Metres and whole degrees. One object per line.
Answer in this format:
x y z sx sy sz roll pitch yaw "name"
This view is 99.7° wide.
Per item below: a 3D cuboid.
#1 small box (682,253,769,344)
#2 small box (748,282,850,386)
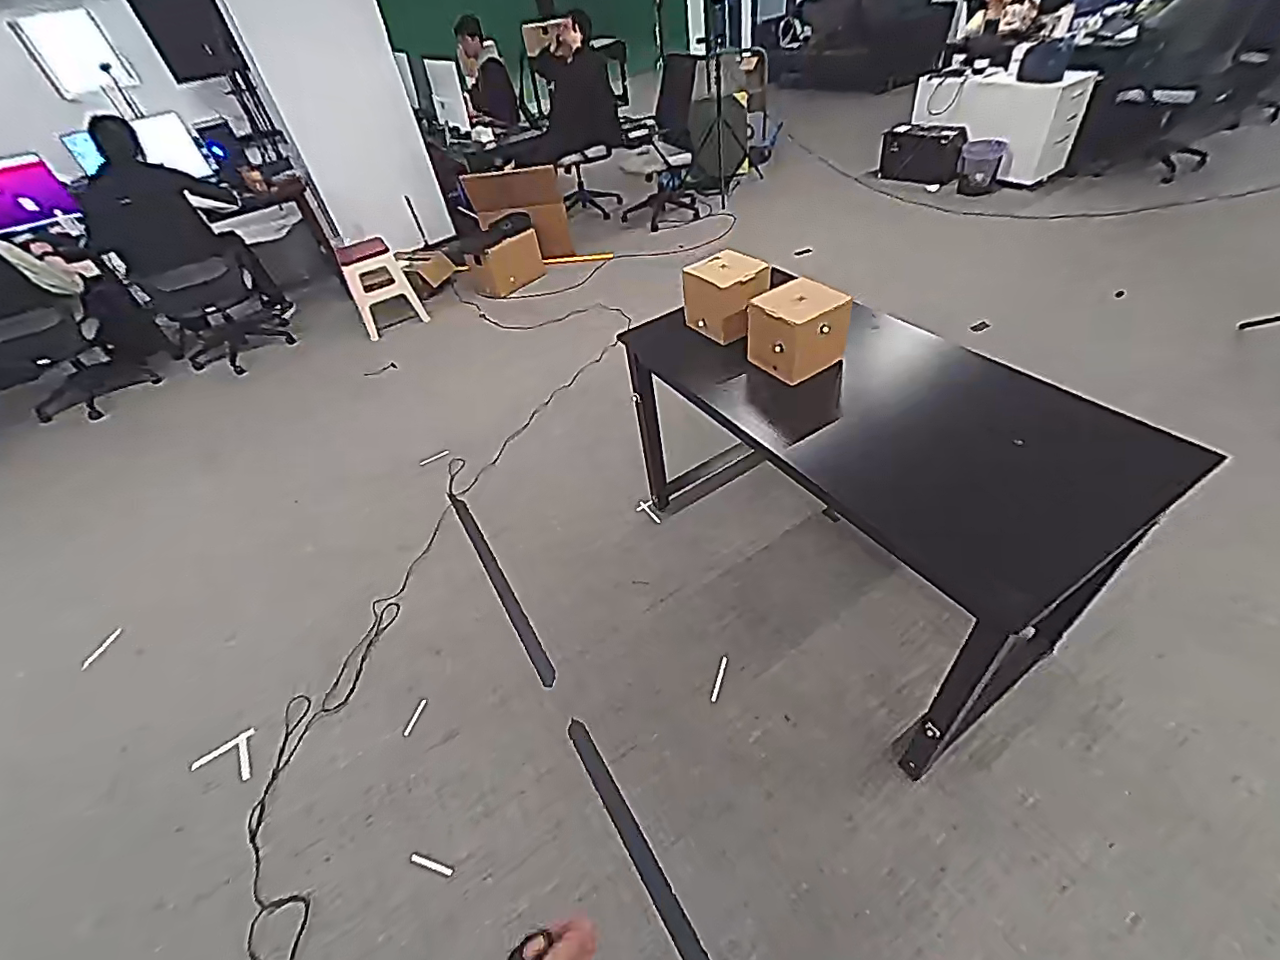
0.237 -0.497 1.497 0.168 0.176 0.179 -29 48 -20 "small box"
0.384 -0.358 1.330 0.179 0.176 0.168 -28 48 -19 "small box"
